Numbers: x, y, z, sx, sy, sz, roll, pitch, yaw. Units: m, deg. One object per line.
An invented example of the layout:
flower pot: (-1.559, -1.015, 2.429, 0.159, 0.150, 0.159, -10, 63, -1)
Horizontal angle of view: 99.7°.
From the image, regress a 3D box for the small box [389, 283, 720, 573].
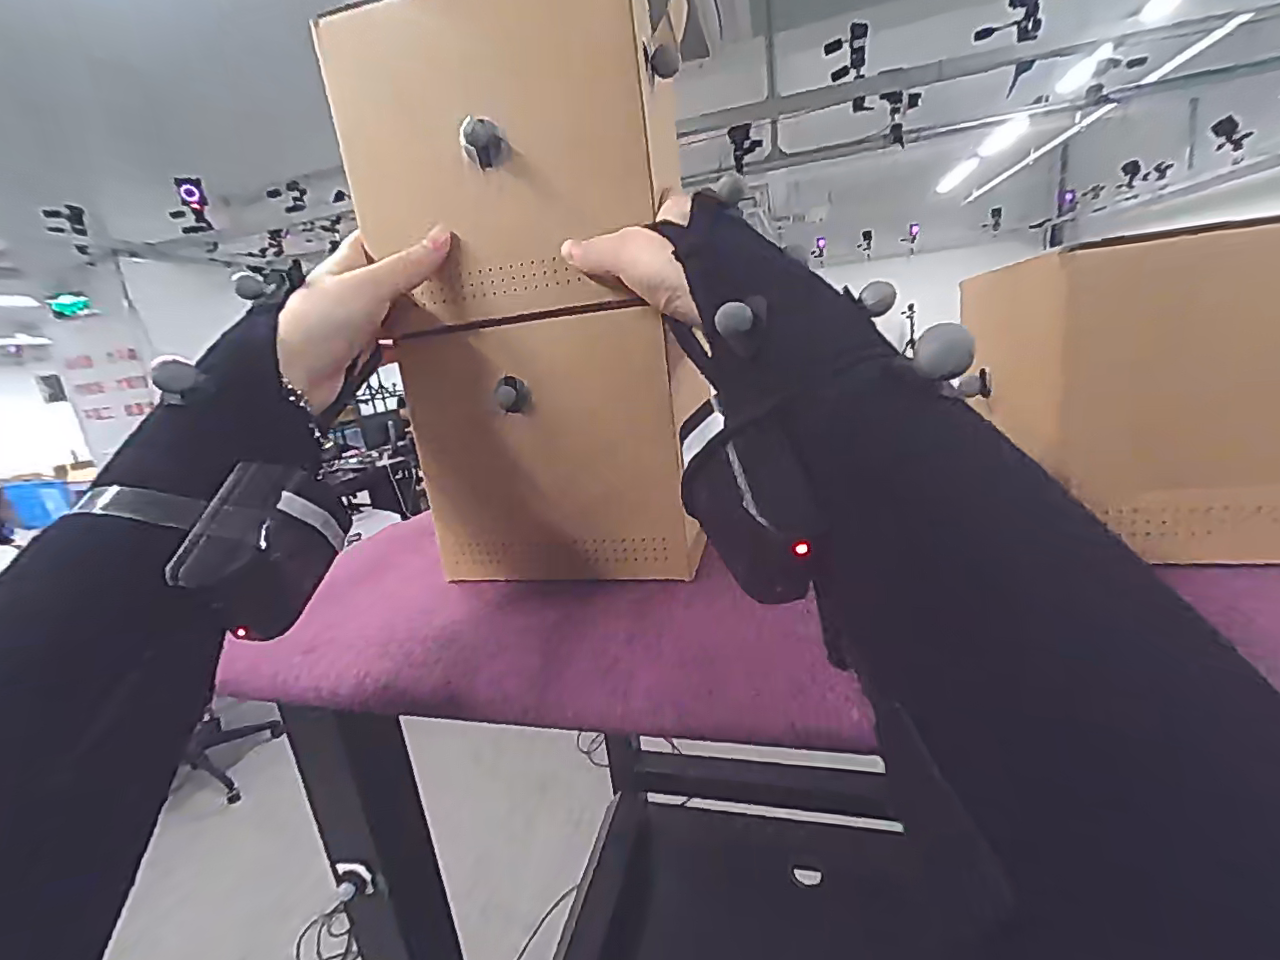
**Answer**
small box: (-0.043, -0.040, 0.398, 0.179, 0.176, 0.168, -3, 16, 15)

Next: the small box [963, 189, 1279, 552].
small box: (0.311, -0.060, 0.320, 0.179, 0.176, 0.168, -2, 14, 16)
